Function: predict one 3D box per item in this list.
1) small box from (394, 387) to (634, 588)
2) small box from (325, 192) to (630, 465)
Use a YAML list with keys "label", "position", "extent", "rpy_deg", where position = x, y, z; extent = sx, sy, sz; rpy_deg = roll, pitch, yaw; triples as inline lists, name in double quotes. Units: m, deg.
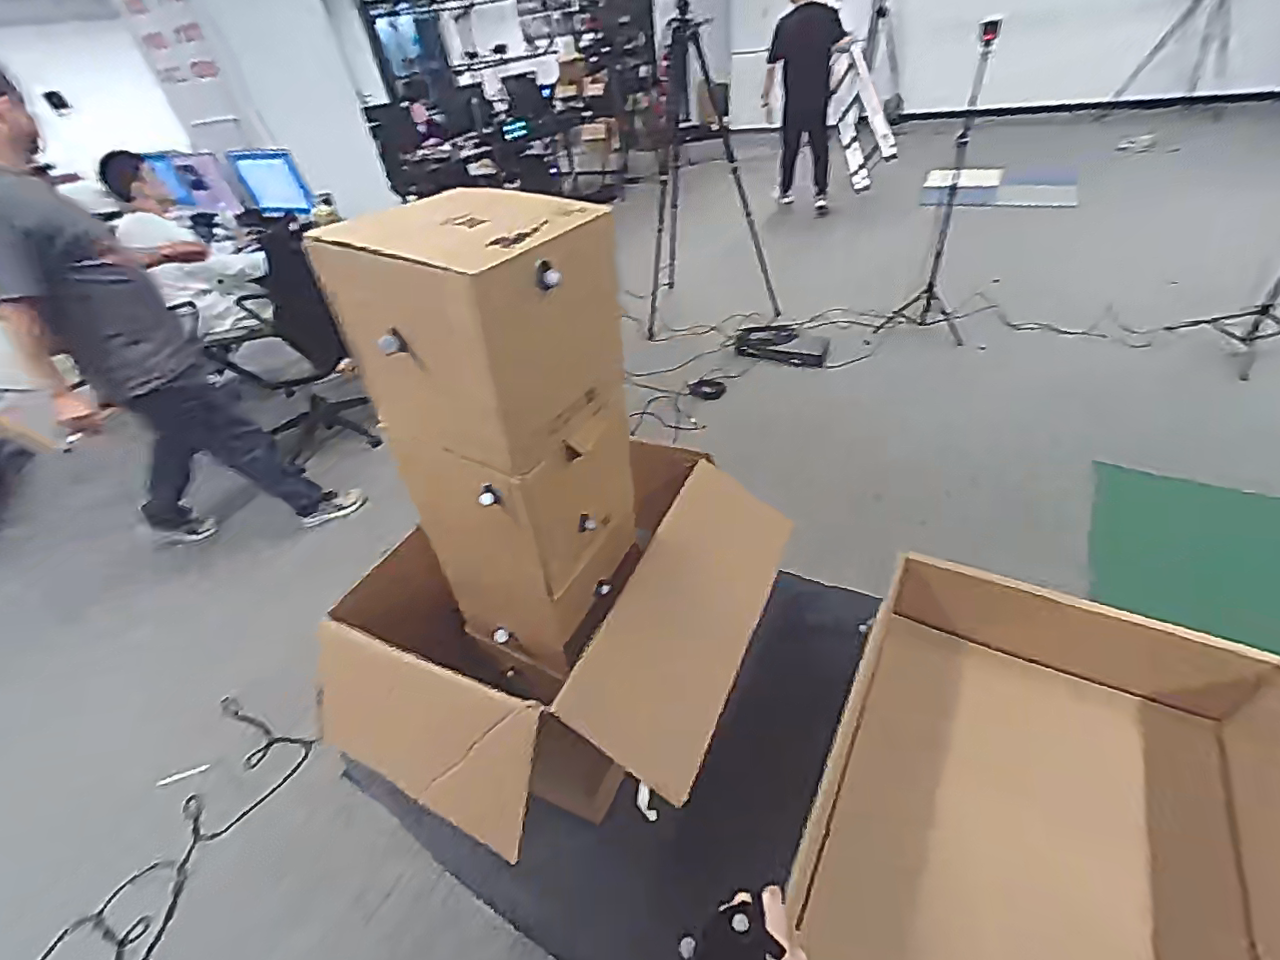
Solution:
- label: "small box"
  position: [-0.121, -0.012, 0.584]
  extent: [0.179, 0.176, 0.168]
  rpy_deg: [20, 46, 22]
- label: "small box"
  position: [-0.124, -0.137, 0.477]
  extent: [0.179, 0.176, 0.168]
  rpy_deg: [21, 47, 24]
